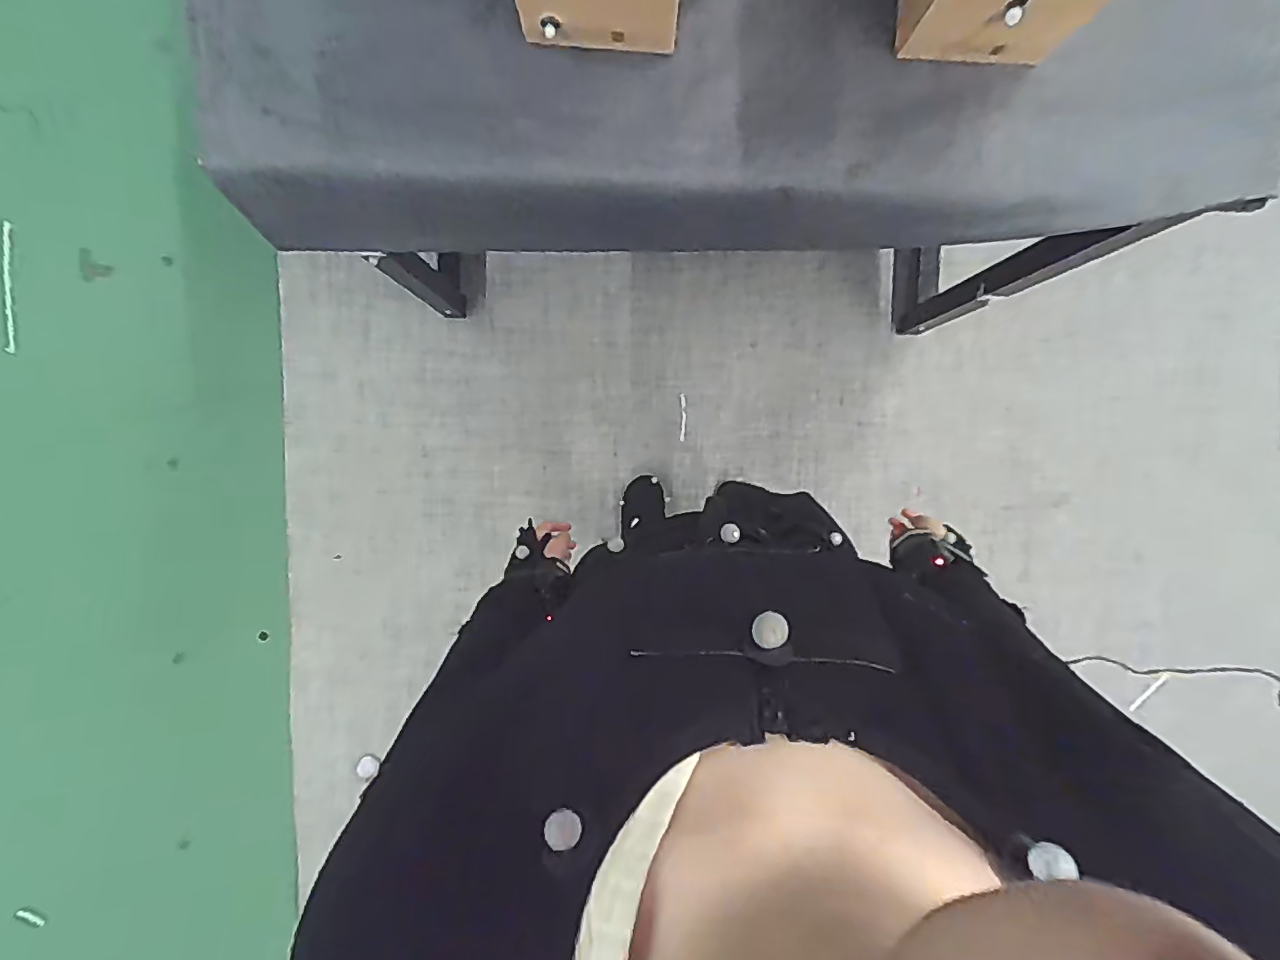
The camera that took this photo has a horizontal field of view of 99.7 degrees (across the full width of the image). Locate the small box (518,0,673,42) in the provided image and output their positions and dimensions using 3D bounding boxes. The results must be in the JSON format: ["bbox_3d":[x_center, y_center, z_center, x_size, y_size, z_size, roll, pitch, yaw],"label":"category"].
[{"bbox_3d":[-0.042,-0.568,0.514,0.168,0.176,0.179,4,92,-1],"label":"small box"}]

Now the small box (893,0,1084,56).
[{"bbox_3d":[0.364,-0.554,0.521,0.168,0.176,0.179,2,93,-1],"label":"small box"}]
